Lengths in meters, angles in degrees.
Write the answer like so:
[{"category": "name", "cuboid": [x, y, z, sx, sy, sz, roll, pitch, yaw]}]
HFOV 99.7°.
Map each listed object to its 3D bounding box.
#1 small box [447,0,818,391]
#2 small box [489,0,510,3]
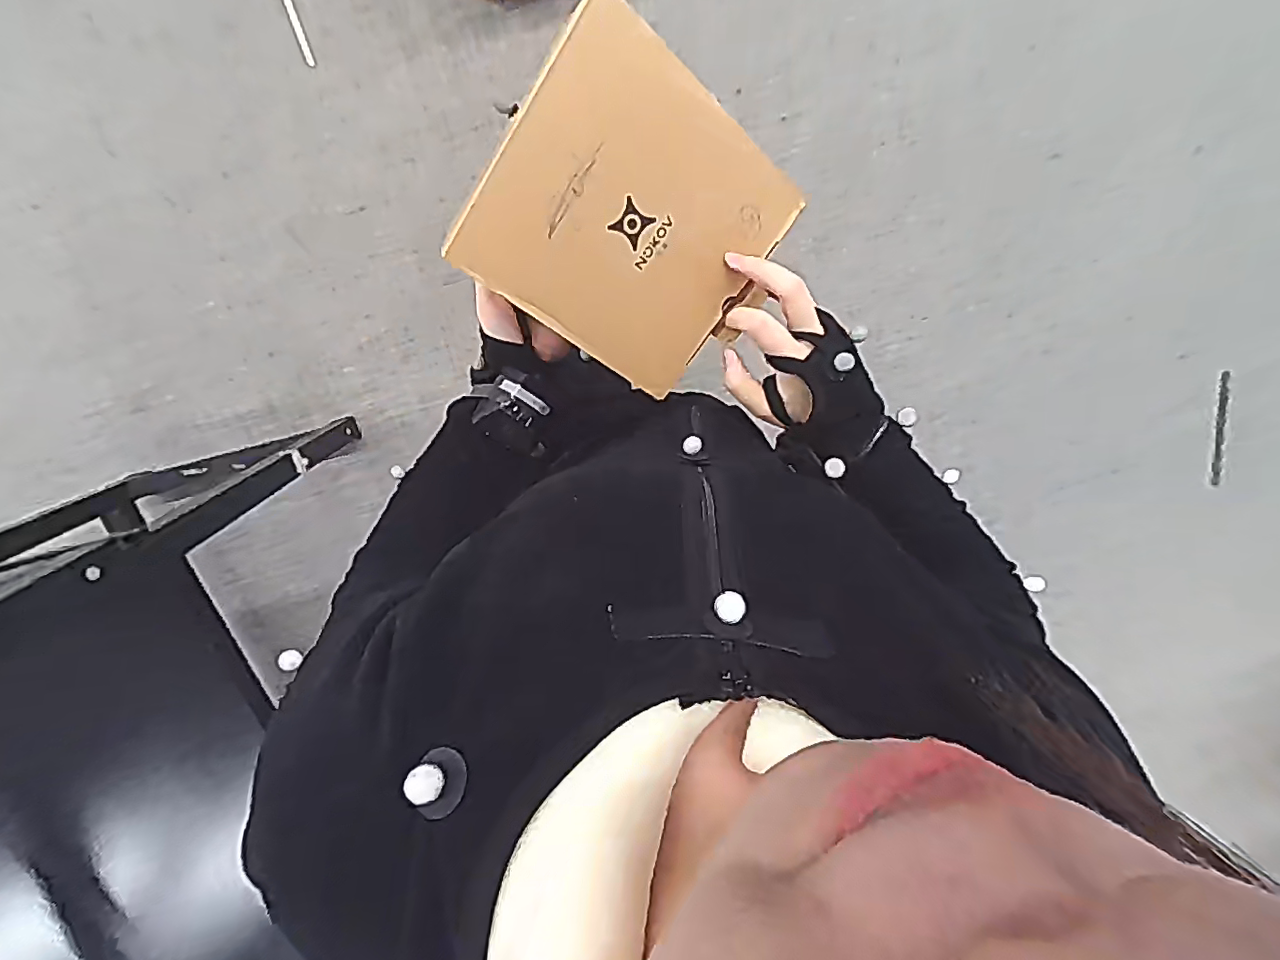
[{"category": "small box", "cuboid": [-0.018, -0.199, 0.391, 0.179, 0.176, 0.168, 30, 106, -29]}, {"category": "small box", "cuboid": [-0.254, -1.057, 1.031, 0.168, 0.176, 0.179, -14, 109, -4]}]
